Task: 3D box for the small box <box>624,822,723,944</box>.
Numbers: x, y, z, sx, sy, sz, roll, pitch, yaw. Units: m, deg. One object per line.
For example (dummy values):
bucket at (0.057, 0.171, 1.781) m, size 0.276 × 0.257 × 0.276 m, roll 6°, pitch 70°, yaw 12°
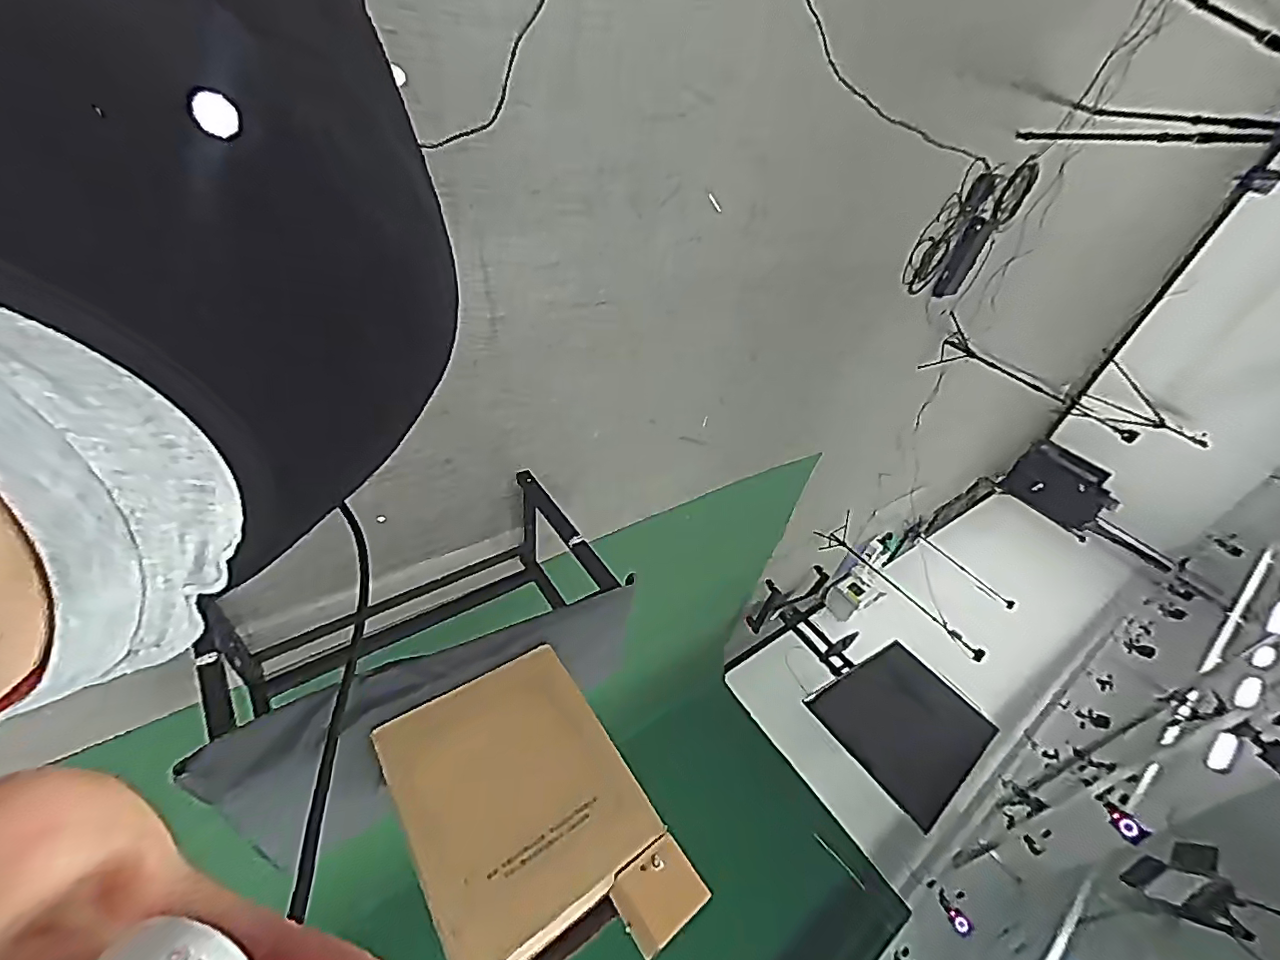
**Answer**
small box at (0.076, 1.002, 1.354) m, size 0.168 × 0.176 × 0.179 m, roll -25°, pitch 141°, yaw -33°
